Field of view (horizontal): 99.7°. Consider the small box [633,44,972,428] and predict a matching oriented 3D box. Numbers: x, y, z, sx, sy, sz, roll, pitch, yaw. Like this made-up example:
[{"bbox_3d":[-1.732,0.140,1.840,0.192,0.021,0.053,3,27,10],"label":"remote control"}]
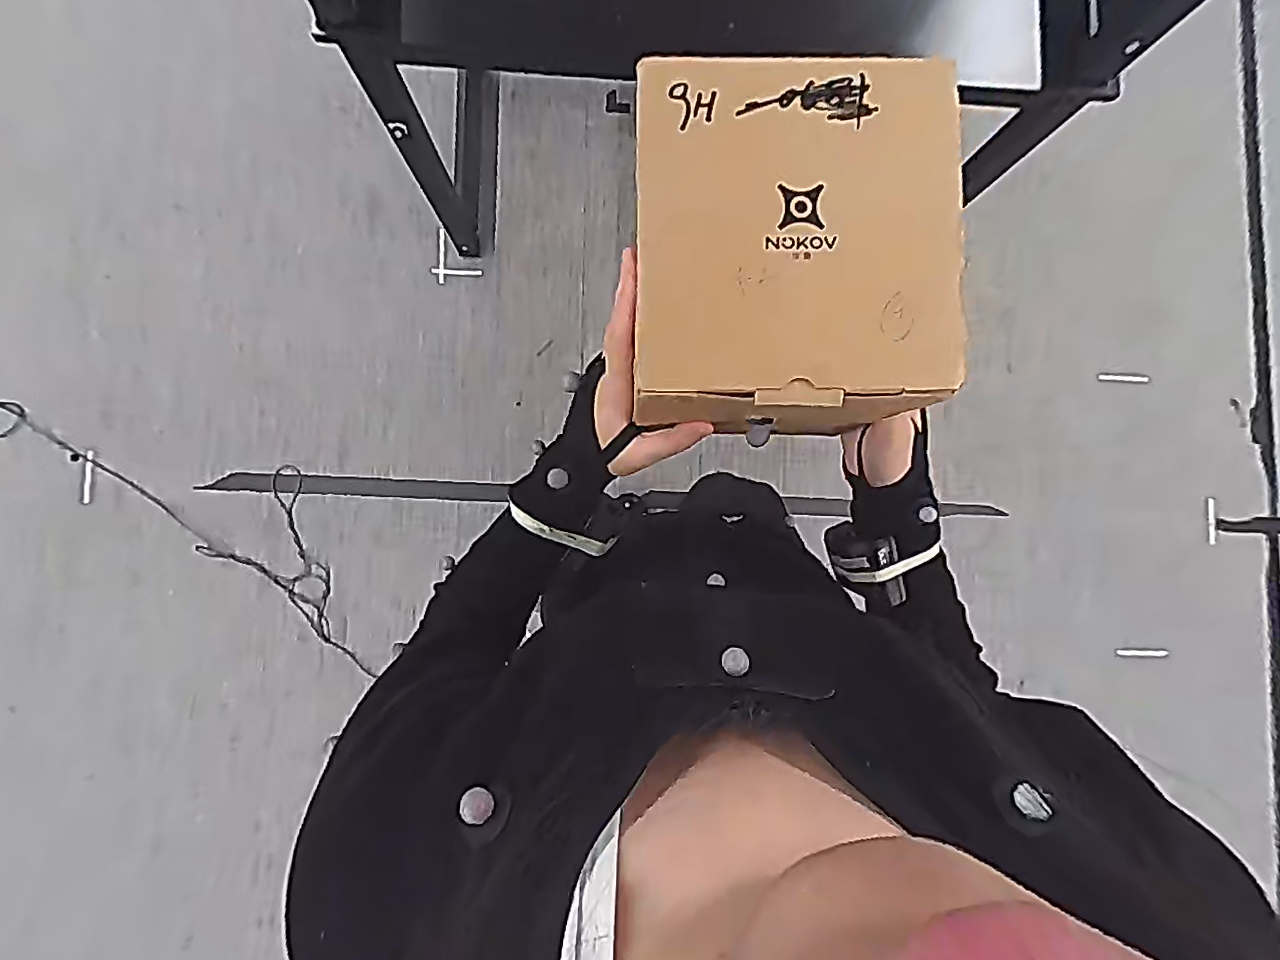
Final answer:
[{"bbox_3d":[0.080,-0.127,0.346,0.168,0.176,0.179,0,89,-1],"label":"small box"}]
